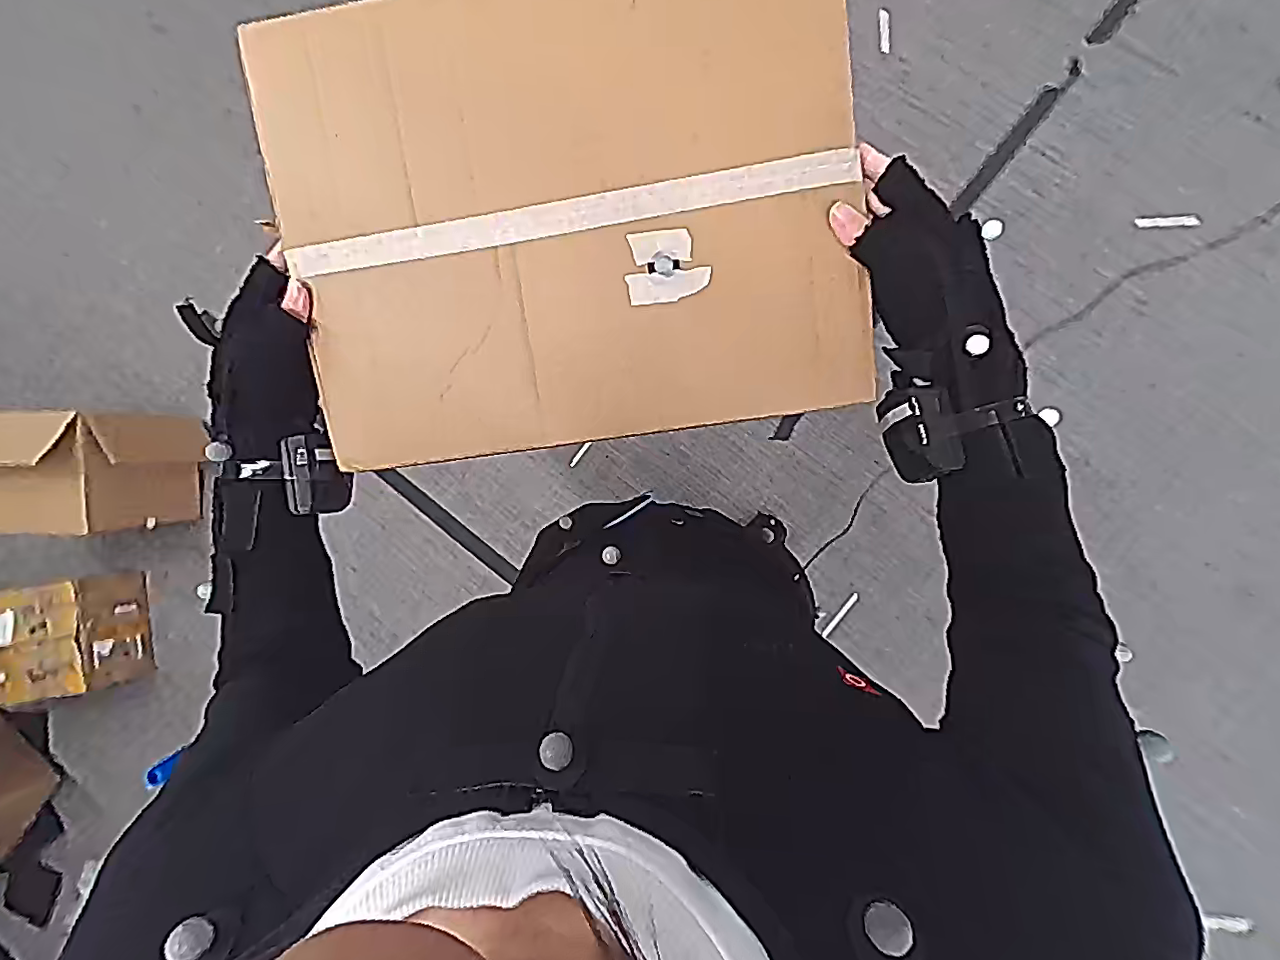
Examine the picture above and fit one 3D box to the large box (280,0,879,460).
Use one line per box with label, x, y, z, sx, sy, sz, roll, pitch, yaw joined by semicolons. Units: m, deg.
large box;-0.034;-0.214;0.536;0.408;0.320;0.320;-7;100;4
